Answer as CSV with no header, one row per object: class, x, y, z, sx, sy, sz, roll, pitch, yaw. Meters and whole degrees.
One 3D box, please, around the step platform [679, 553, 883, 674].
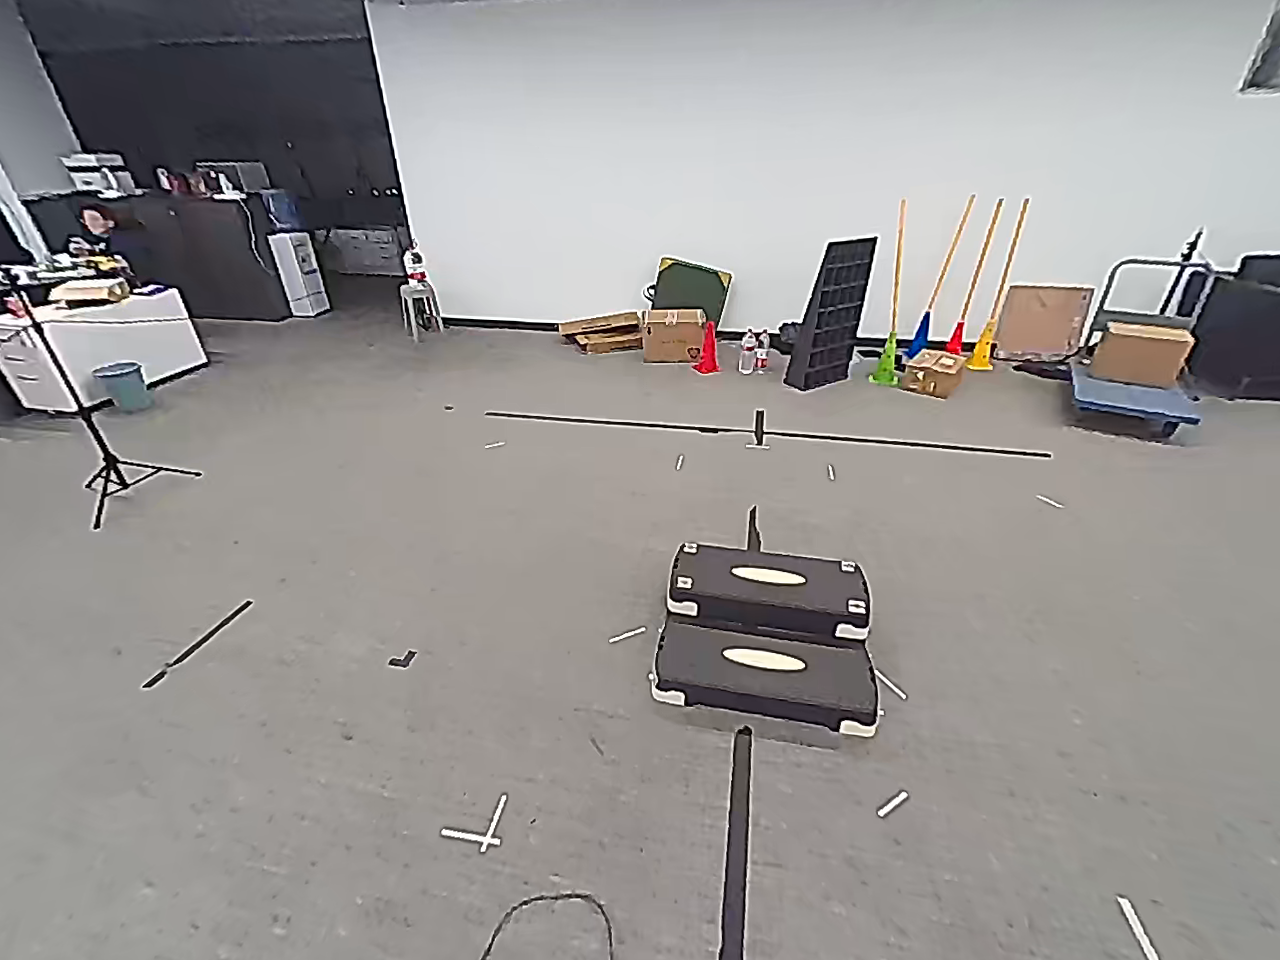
step platform,0.486,0.456,1.910,0.684,0.204,0.286,8,31,14
